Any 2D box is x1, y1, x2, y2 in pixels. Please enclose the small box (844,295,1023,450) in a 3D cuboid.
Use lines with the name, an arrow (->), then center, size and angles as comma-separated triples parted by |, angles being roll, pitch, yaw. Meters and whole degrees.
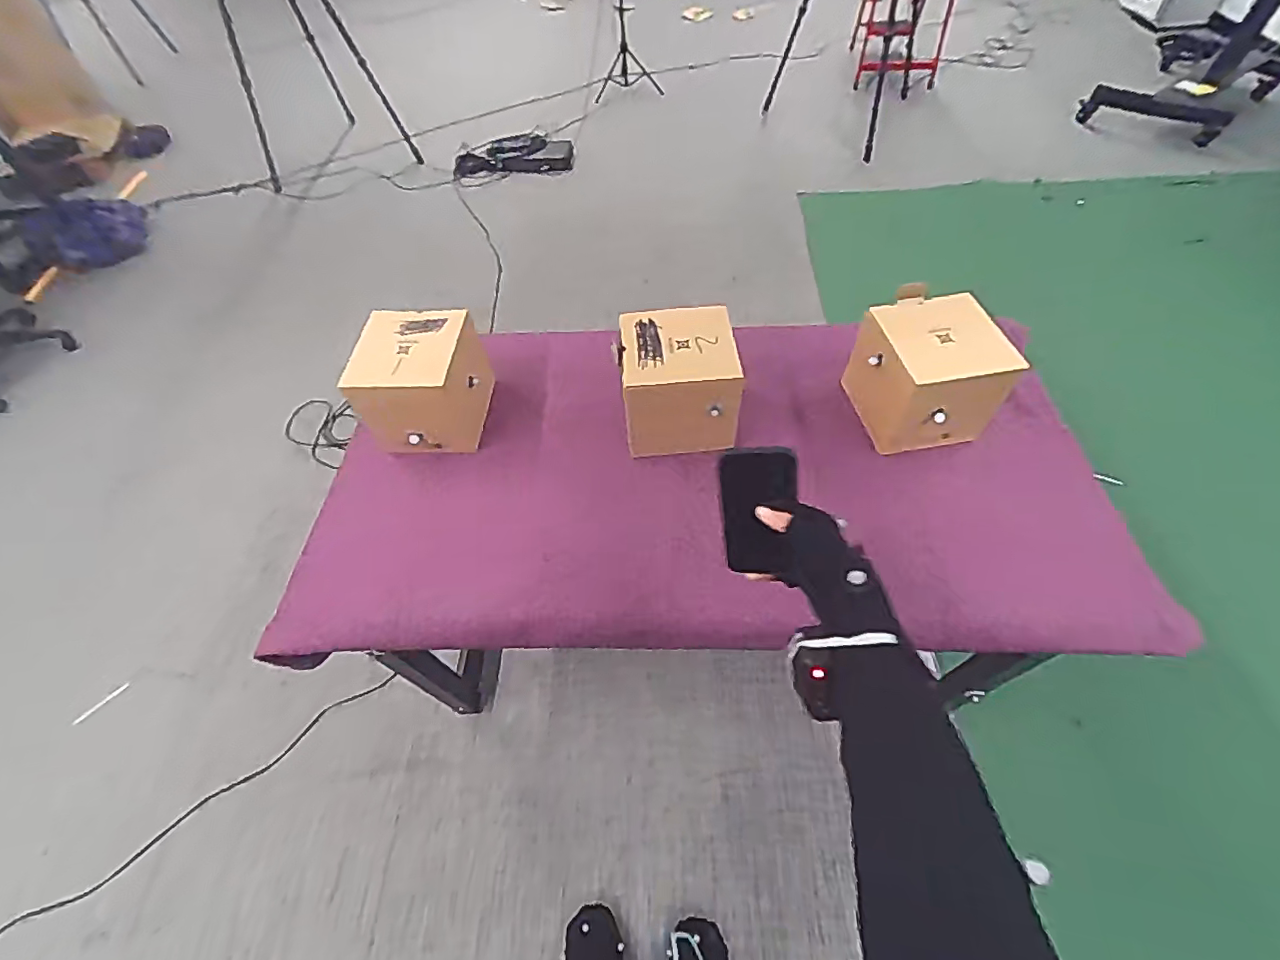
small box -> 0.450, -0.163, 0.862 | 0.168, 0.176, 0.179 | -9, 55, -2

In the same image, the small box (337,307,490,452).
small box -> -0.363, -0.168, 0.910 | 0.168, 0.176, 0.179 | 1, 57, 4
